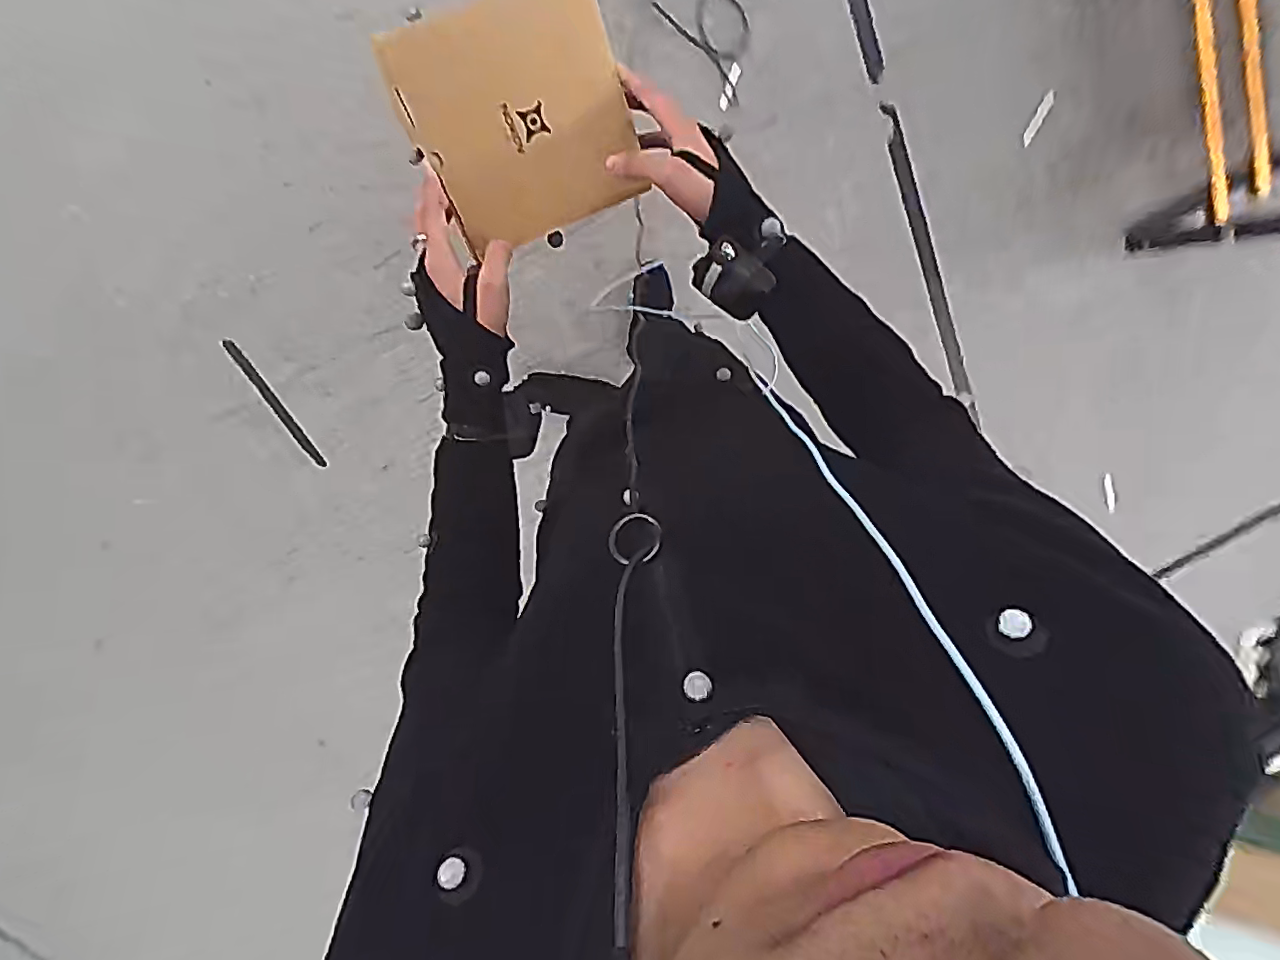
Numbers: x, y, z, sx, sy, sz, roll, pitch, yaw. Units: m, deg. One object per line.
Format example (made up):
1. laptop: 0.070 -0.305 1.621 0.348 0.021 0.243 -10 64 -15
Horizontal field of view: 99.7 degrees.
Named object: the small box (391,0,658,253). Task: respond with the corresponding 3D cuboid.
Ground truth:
1. small box: -0.109 -0.336 0.510 0.179 0.176 0.168 -26 123 -7
